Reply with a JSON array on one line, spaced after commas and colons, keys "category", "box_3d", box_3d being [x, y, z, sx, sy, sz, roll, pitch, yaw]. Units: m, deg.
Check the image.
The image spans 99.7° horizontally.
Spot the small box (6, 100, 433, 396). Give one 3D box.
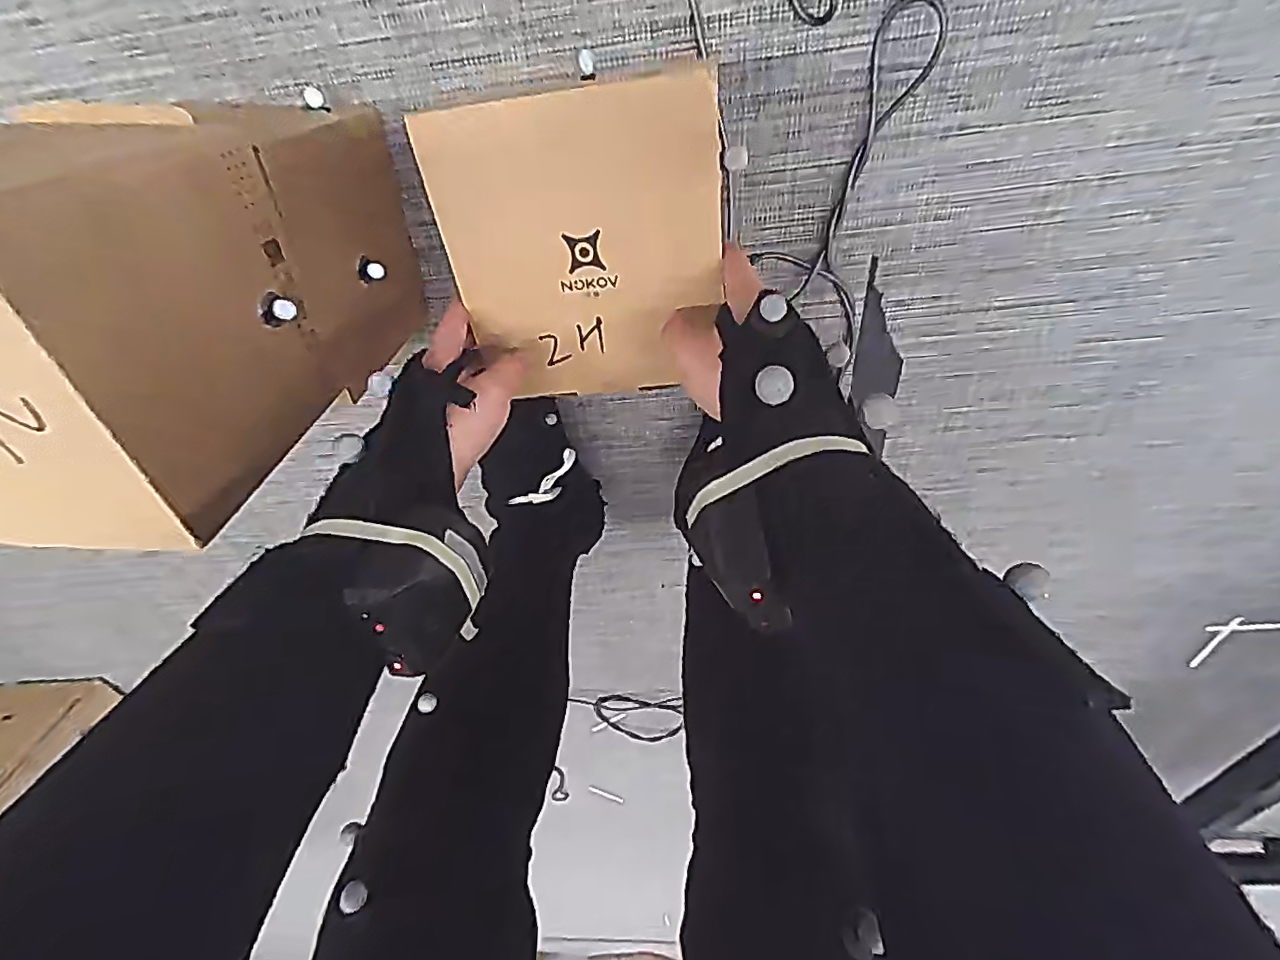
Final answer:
[{"category": "small box", "box_3d": [-0.286, -0.186, 0.425, 0.168, 0.176, 0.179, 3, 131, 2]}]

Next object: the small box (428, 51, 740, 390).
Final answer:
[{"category": "small box", "box_3d": [-0.019, -0.184, 0.387, 0.168, 0.176, 0.179, -2, 128, 7]}]
